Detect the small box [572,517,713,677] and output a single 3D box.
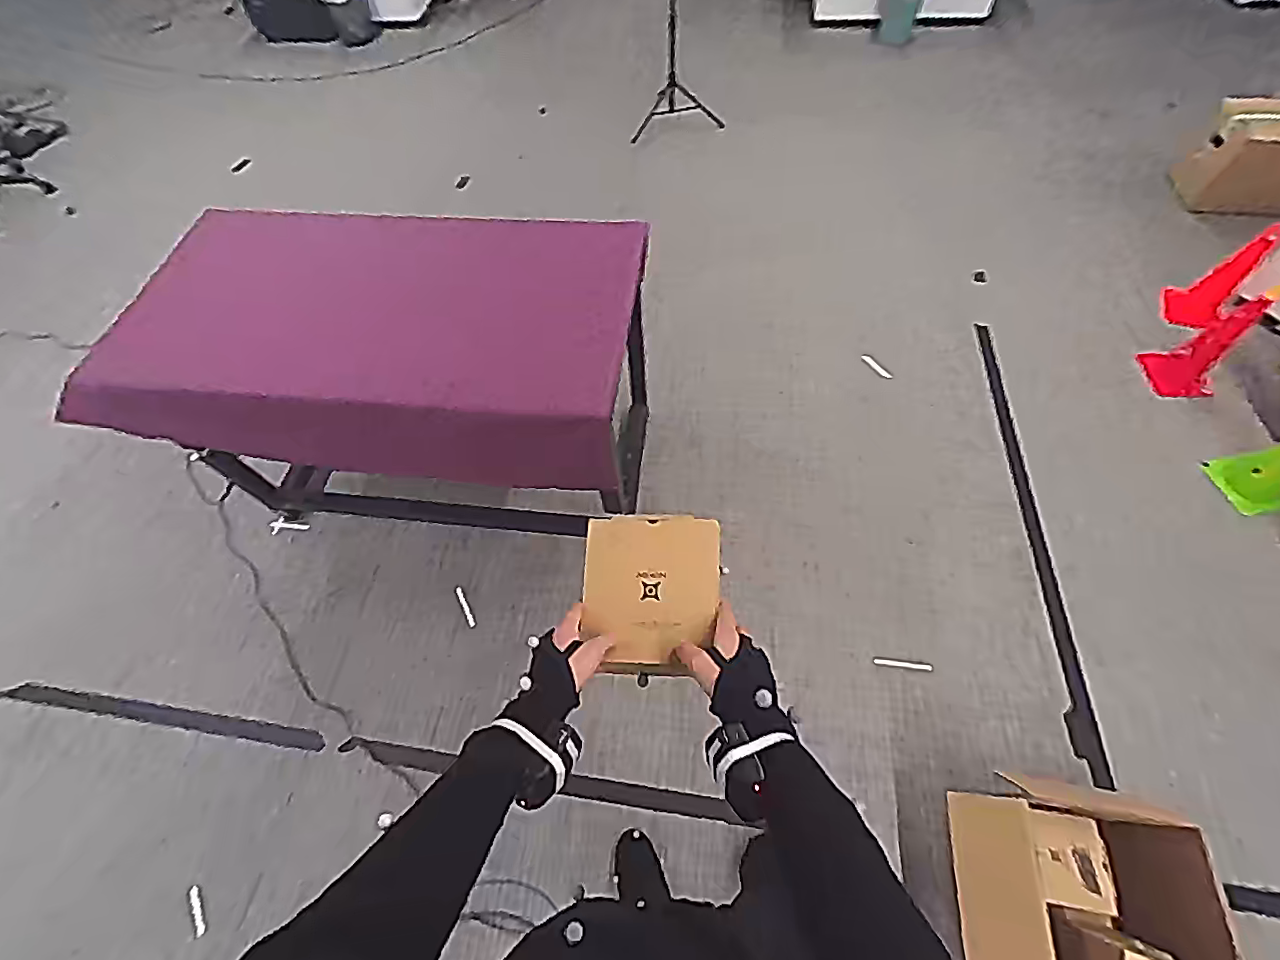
[{"bbox_3d":[0.013,0.161,0.727,0.168,0.176,0.179,0,65,7],"label":"small box"}]
